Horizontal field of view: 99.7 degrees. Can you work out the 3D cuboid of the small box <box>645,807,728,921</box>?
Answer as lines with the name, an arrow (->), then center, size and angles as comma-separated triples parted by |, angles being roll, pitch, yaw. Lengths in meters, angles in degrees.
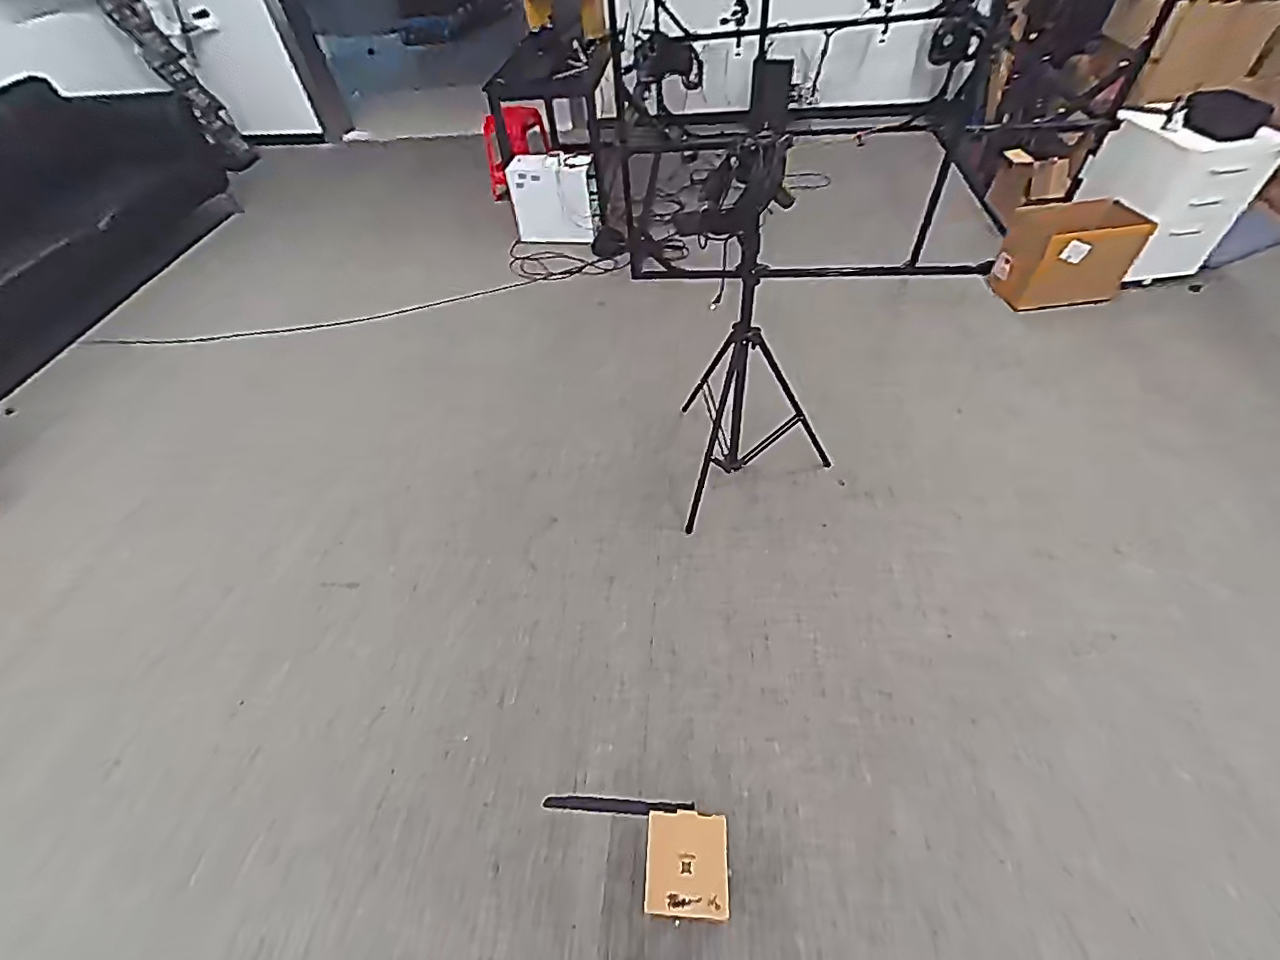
small box -> 0.099, 0.824, 1.160 | 0.168, 0.176, 0.179 | 1, 48, 5
